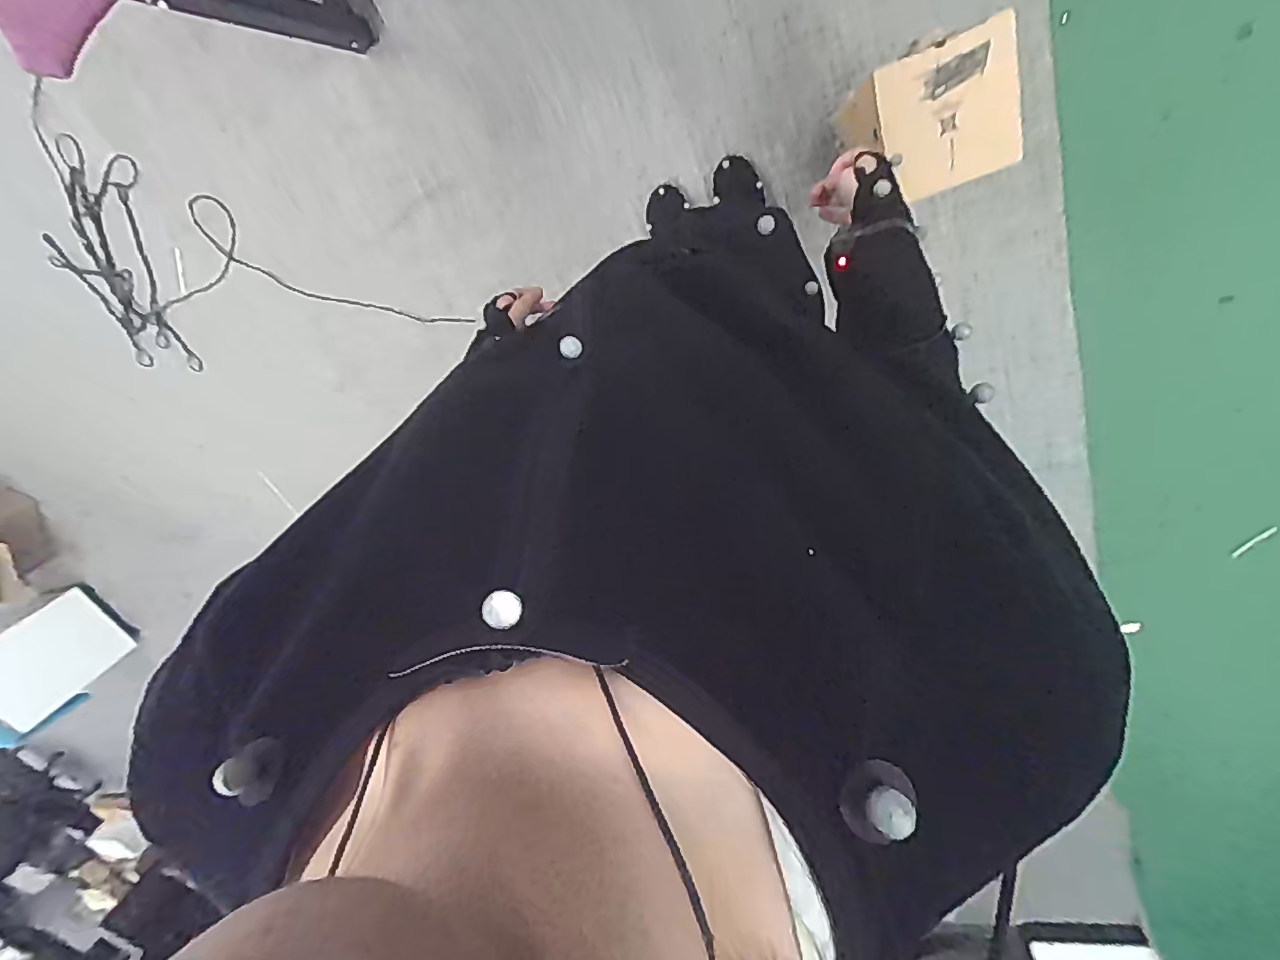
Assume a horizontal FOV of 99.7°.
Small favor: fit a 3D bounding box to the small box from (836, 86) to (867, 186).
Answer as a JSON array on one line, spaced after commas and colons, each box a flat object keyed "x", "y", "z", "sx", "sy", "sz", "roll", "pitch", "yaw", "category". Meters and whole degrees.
[{"x": 0.483, "y": -0.689, "z": 1.062, "sx": 0.179, "sy": 0.176, "sz": 0.168, "roll": -6, "pitch": 120, "yaw": 16, "category": "small box"}]

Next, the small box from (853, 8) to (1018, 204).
[{"x": 0.418, "y": -0.526, "z": 0.784, "sx": 0.168, "sy": 0.176, "sz": 0.179, "roll": -14, "pitch": 118, "yaw": 19, "category": "small box"}]
